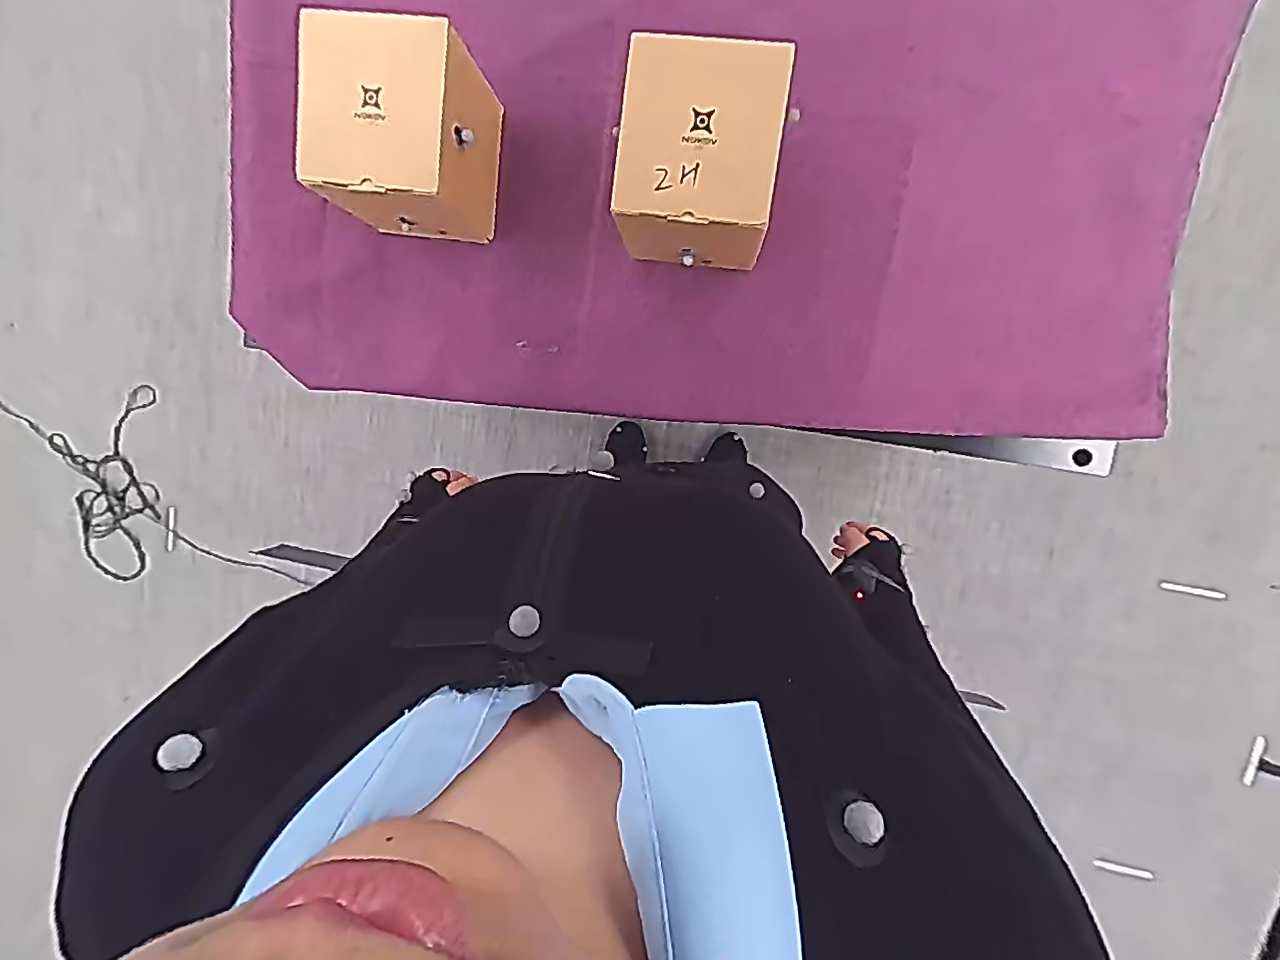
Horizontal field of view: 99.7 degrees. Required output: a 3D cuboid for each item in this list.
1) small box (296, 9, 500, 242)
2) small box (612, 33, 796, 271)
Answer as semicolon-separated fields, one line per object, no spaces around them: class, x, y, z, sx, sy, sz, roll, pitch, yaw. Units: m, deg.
small box;-0.279;-0.412;0.656;0.168;0.176;0.179;8;99;4
small box;0.070;-0.361;0.625;0.168;0.176;0.179;9;98;5
